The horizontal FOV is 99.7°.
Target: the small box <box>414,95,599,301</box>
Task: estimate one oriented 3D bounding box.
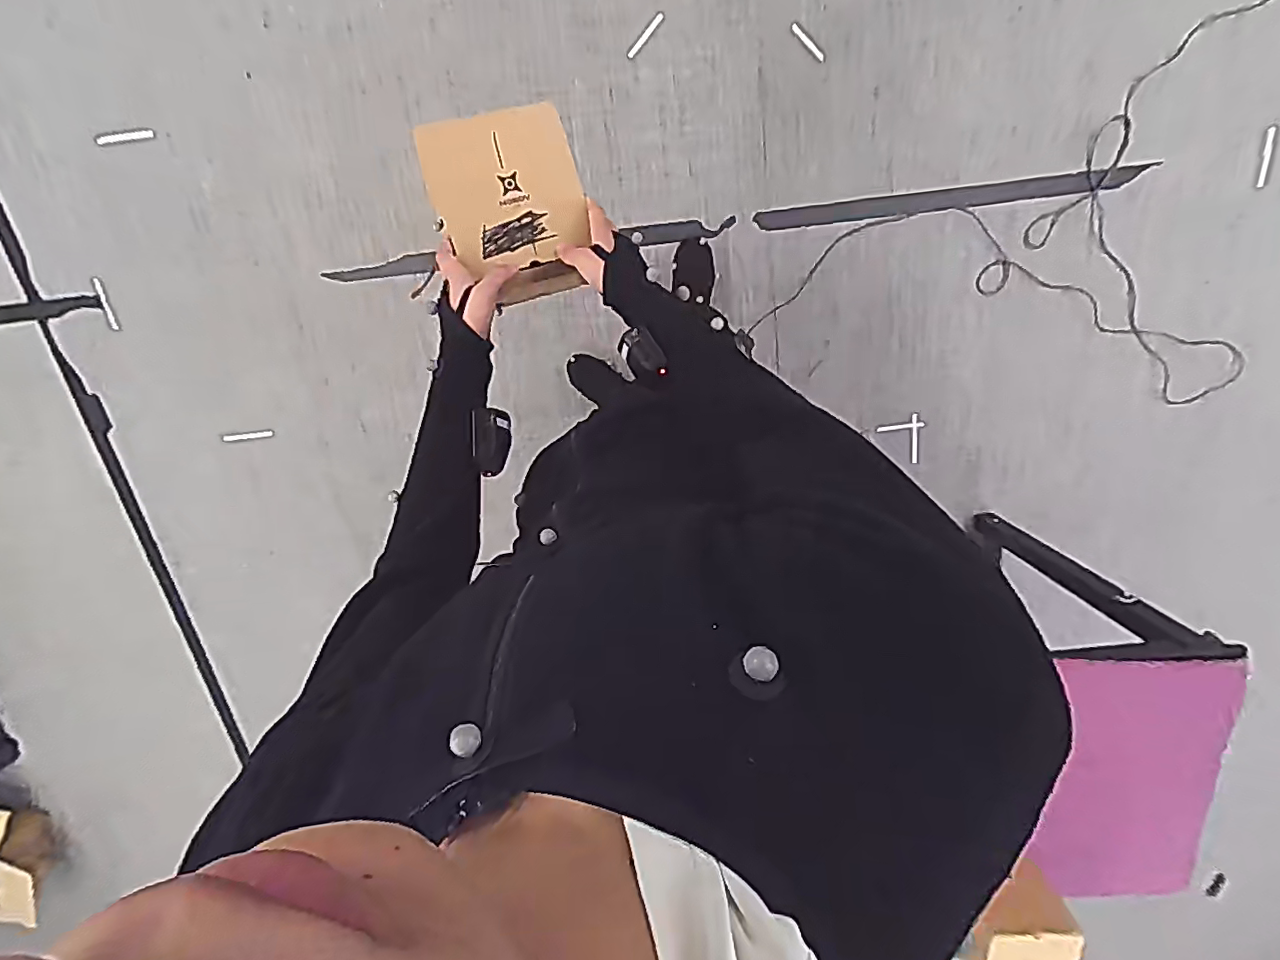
[{"bbox_3d":[-0.167,-0.342,0.692,0.168,0.176,0.179,-20,100,-13],"label":"small box"}]

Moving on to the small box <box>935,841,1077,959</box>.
[{"bbox_3d":[0.717,0.863,1.082,0.168,0.176,0.179,-4,108,3],"label":"small box"}]
